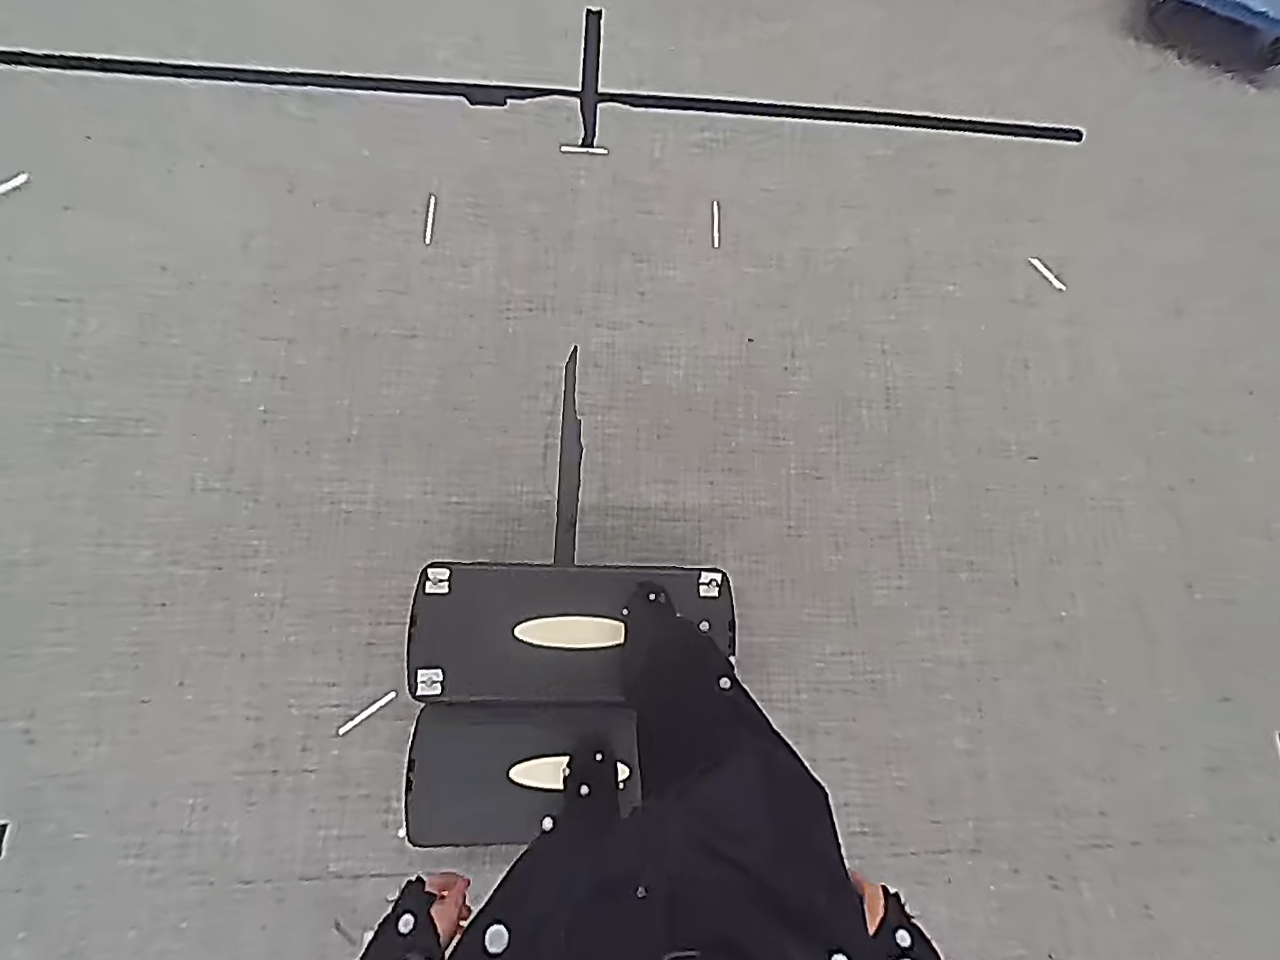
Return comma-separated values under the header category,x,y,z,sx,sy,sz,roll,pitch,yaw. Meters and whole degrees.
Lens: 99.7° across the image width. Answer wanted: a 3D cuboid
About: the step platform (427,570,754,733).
category,x,y,z,sx,sy,sz,roll,pitch,yaw
step platform,-0.098,0.369,1.182,0.684,0.204,0.286,6,75,-4
